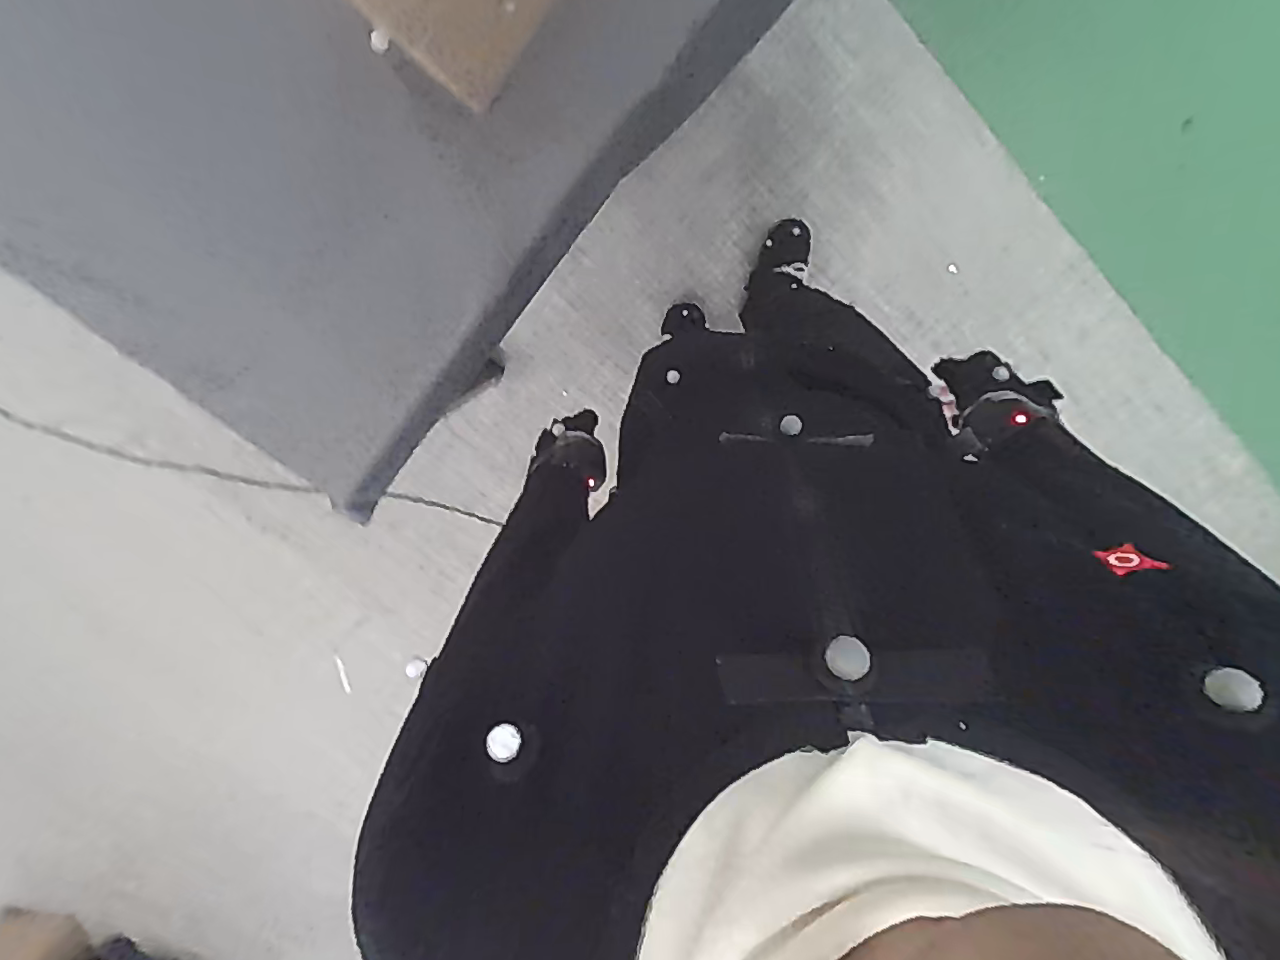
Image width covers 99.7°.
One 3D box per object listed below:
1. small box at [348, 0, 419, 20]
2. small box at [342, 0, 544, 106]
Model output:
[{"bbox_3d":[-0.188,-0.399,0.284,0.179,0.176,0.168,38,107,-12],"label":"small box"},{"bbox_3d":[-0.175,-0.457,0.436,0.168,0.176,0.179,35,106,-11],"label":"small box"}]
